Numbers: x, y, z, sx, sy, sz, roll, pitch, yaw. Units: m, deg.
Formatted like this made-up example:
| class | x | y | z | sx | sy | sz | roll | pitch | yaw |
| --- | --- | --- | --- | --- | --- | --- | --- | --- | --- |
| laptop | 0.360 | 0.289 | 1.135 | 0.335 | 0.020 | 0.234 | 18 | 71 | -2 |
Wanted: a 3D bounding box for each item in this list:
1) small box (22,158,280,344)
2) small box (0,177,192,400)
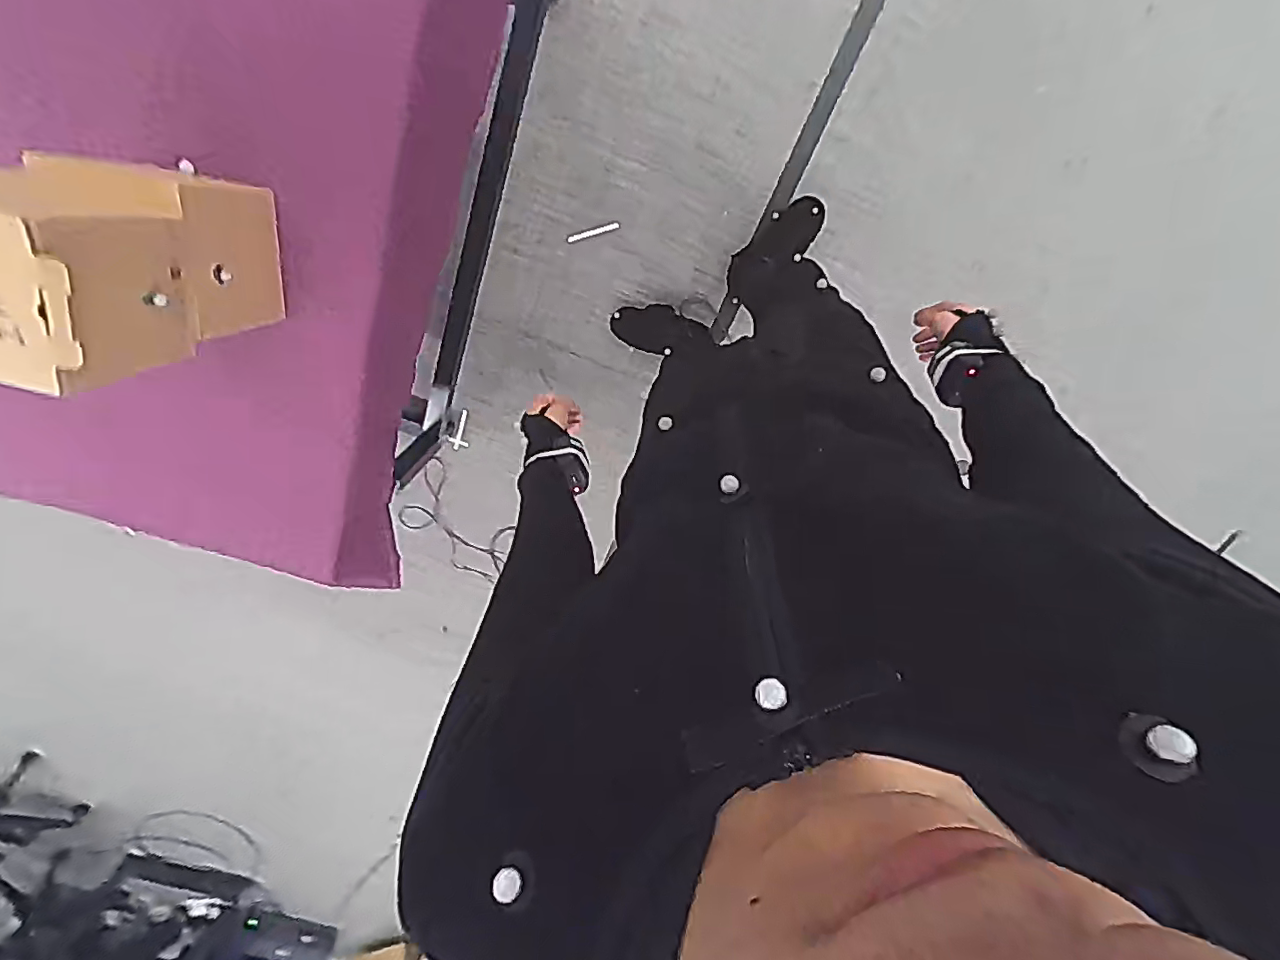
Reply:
| class | x | y | z | sx | sy | sz | roll | pitch | yaw |
| --- | --- | --- | --- | --- | --- | --- | --- | --- | --- |
| small box | -0.596 | -0.290 | 0.692 | 0.168 | 0.176 | 0.179 | 10 | 115 | -3 |
| small box | -0.614 | -0.202 | 0.551 | 0.179 | 0.176 | 0.168 | 14 | 116 | -5 |
